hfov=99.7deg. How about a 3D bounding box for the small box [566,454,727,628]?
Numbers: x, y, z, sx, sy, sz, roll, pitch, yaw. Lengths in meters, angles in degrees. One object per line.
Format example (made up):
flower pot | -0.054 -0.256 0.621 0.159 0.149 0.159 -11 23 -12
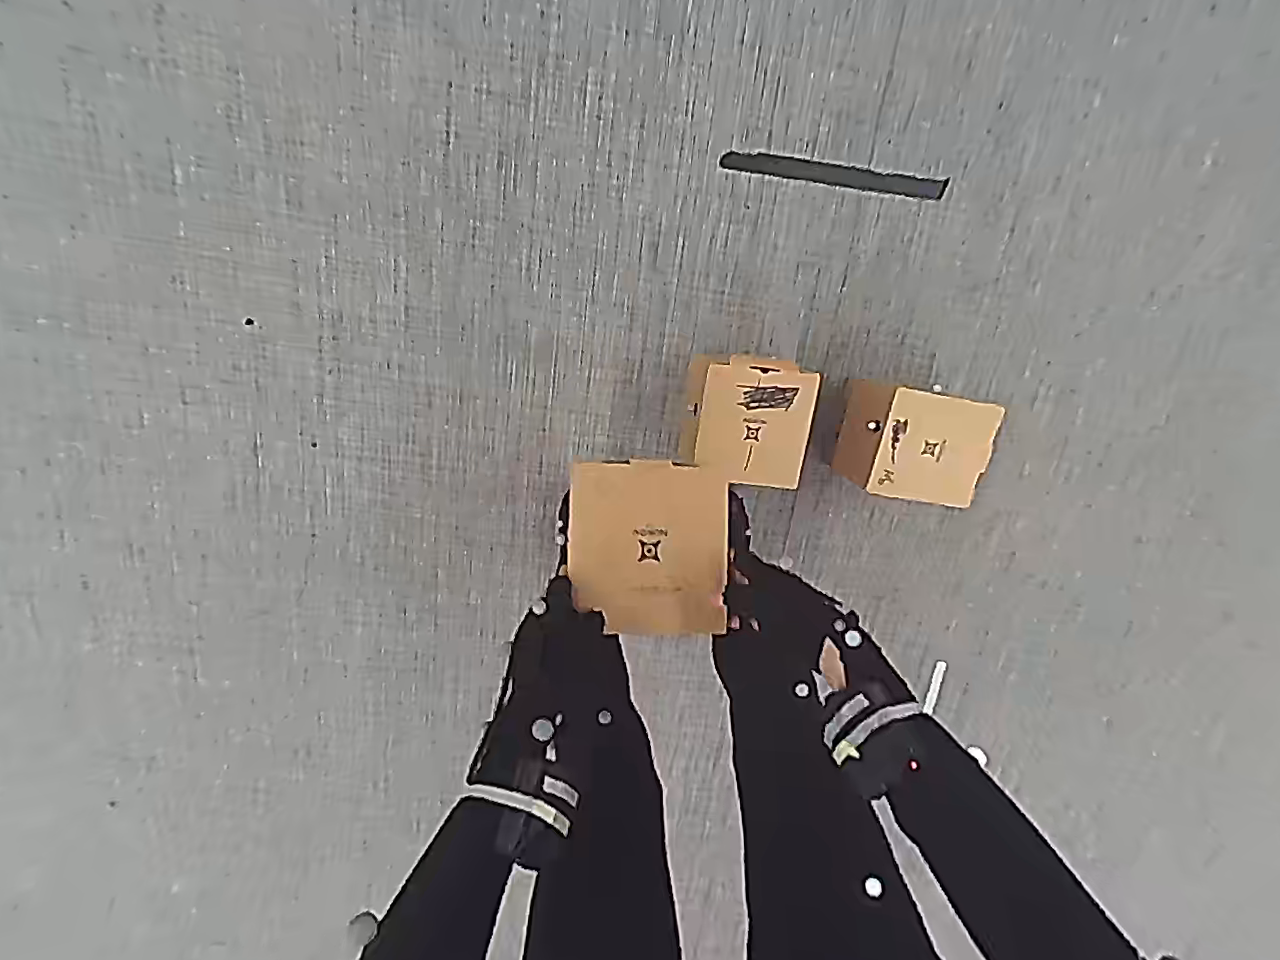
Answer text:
small box | 0.000 0.067 0.627 0.168 0.176 0.179 0 86 -5

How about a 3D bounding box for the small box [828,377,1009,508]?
small box | 0.440 -0.068 0.884 0.179 0.176 0.168 9 106 -6

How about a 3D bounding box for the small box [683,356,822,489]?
small box | 0.166 -0.099 0.860 0.168 0.176 0.179 6 107 -4
